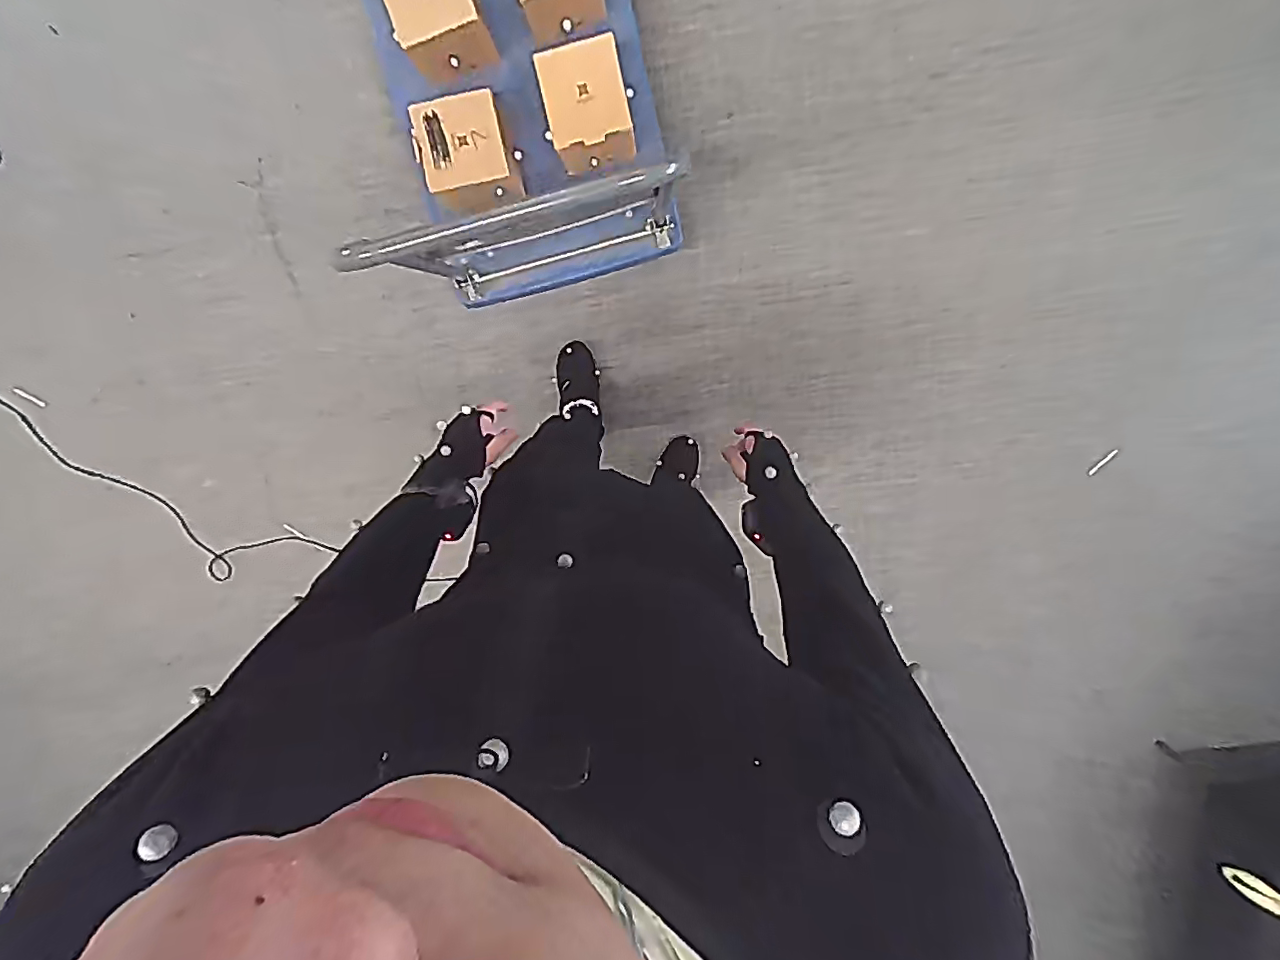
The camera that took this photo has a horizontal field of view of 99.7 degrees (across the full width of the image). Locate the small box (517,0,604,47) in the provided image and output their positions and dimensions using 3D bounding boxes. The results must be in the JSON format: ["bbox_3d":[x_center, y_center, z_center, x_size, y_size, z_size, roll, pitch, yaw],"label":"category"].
[{"bbox_3d":[-0.181,-1.040,1.098,0.168,0.176,0.179,-17,104,6],"label":"small box"}]

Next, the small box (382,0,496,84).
[{"bbox_3d":[-0.419,-0.964,1.122,0.168,0.176,0.179,-17,103,5],"label":"small box"}]

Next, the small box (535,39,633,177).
[{"bbox_3d":[-0.113,-0.786,1.161,0.168,0.176,0.179,-13,104,4],"label":"small box"}]
